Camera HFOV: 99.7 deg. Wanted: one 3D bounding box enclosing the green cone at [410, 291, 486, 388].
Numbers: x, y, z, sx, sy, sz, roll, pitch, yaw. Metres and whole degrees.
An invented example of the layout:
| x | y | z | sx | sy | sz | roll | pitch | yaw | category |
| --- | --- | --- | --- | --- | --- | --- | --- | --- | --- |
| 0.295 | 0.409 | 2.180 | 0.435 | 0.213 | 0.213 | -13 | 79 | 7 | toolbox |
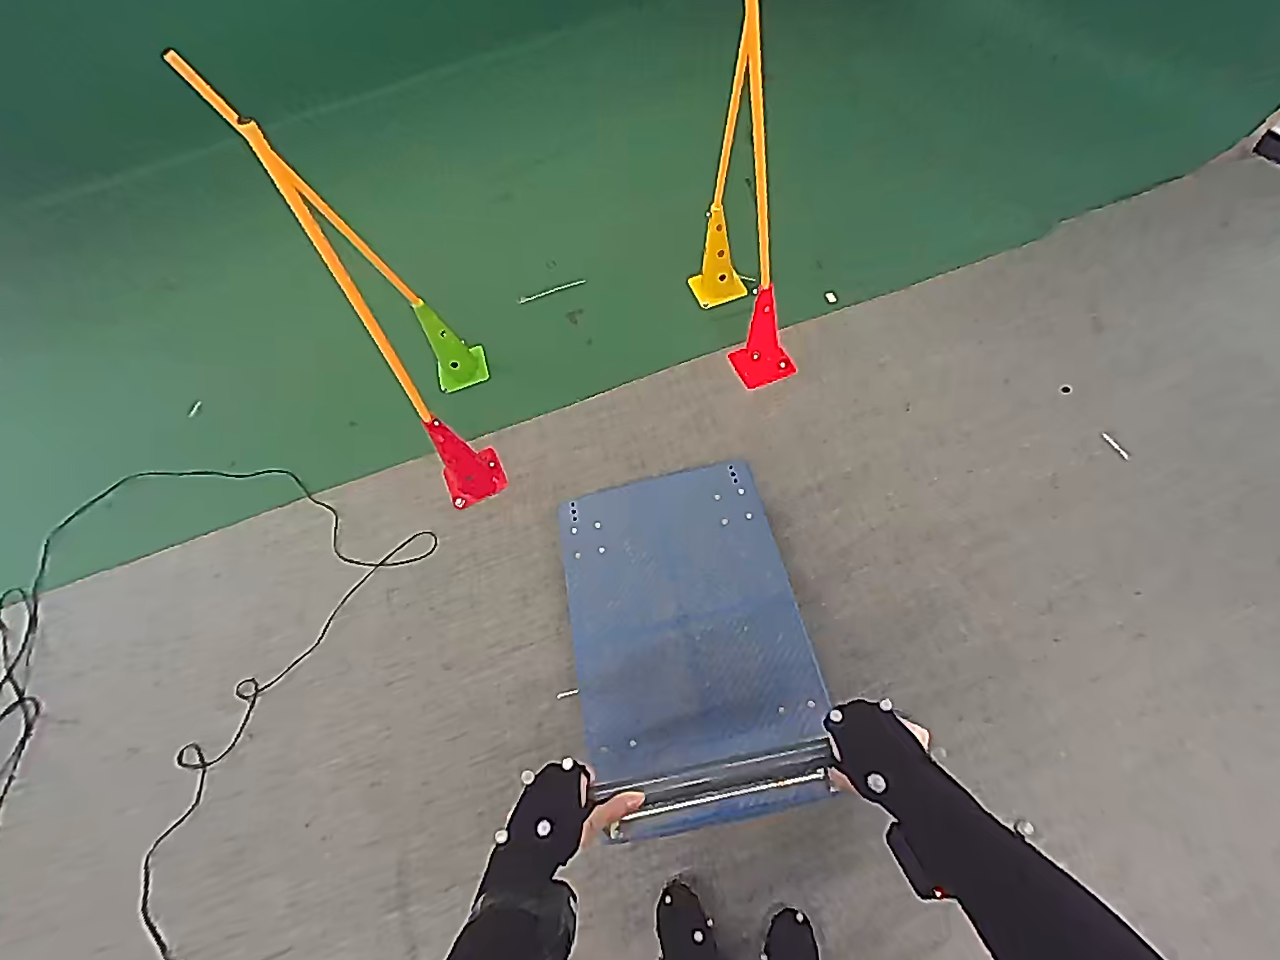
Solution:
| x | y | z | sx | sy | sz | roll | pitch | yaw | category |
| --- | --- | --- | --- | --- | --- | --- | --- | --- | --- |
| -0.753 | -0.556 | 2.042 | 0.200 | 0.368 | 0.202 | -20 | 58 | -2 | green cone |

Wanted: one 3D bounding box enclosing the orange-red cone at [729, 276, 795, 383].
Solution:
| x | y | z | sx | sy | sz | roll | pitch | yaw | category |
| --- | --- | --- | --- | --- | --- | --- | --- | --- | --- |
| 0.418 | -0.533 | 1.832 | 0.198 | 0.360 | 0.199 | -19 | 57 | -3 | orange-red cone |
